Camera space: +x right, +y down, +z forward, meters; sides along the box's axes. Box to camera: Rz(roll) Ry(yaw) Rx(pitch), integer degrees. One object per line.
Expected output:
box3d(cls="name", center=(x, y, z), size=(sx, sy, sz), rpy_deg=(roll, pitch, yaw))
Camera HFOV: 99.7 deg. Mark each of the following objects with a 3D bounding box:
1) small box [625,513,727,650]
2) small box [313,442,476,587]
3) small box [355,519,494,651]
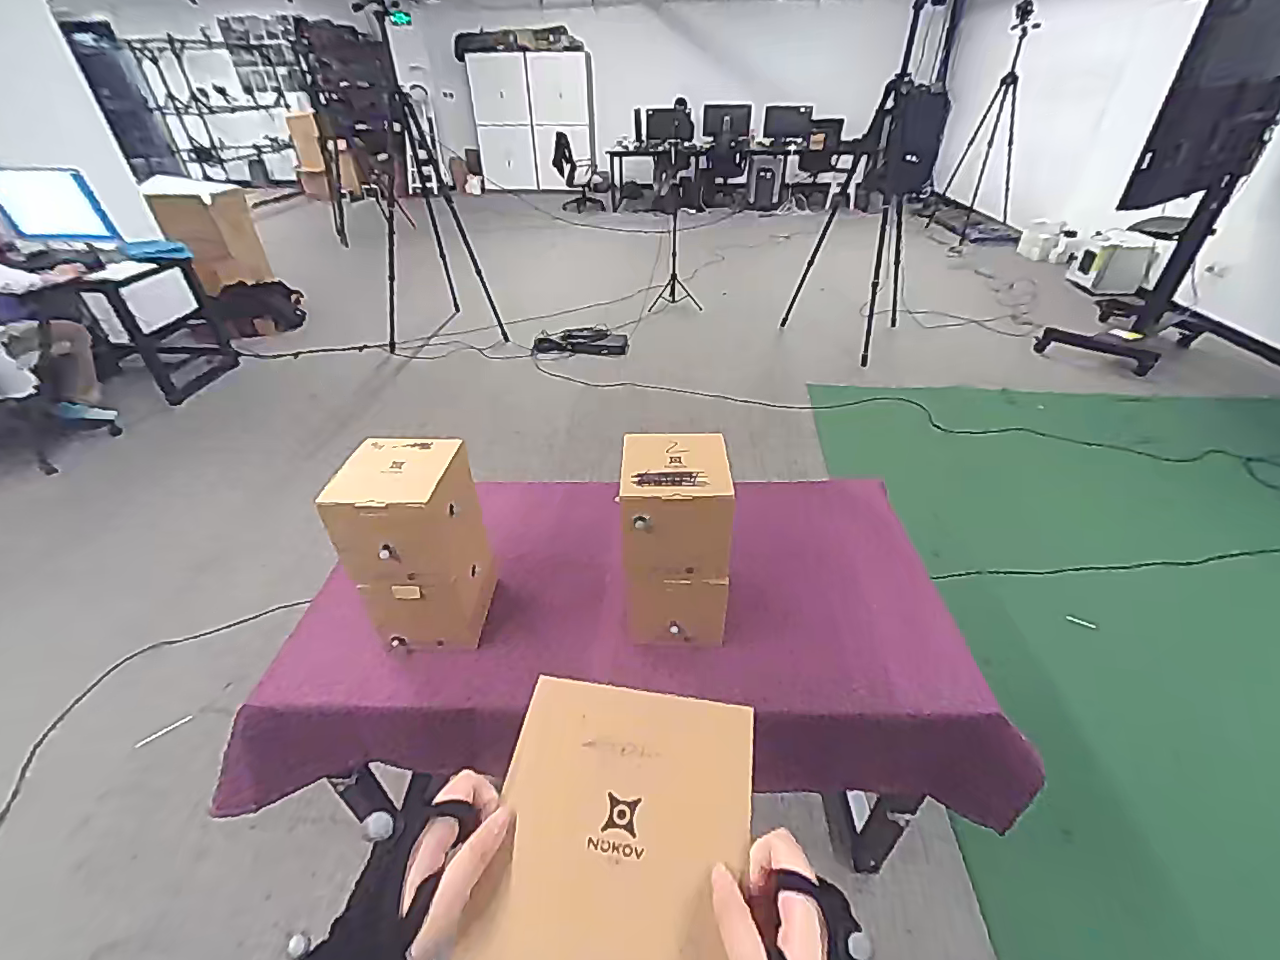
box3d(cls="small box", center=(0.063, 0.178, 0.970), size=(0.168, 0.176, 0.179), rpy_deg=(1, 37, 4))
box3d(cls="small box", center=(-0.378, 0.056, 0.875), size=(0.168, 0.176, 0.179), rpy_deg=(1, 37, 2))
box3d(cls="small box", center=(-0.371, 0.189, 0.971), size=(0.168, 0.176, 0.179), rpy_deg=(0, 35, 1))
